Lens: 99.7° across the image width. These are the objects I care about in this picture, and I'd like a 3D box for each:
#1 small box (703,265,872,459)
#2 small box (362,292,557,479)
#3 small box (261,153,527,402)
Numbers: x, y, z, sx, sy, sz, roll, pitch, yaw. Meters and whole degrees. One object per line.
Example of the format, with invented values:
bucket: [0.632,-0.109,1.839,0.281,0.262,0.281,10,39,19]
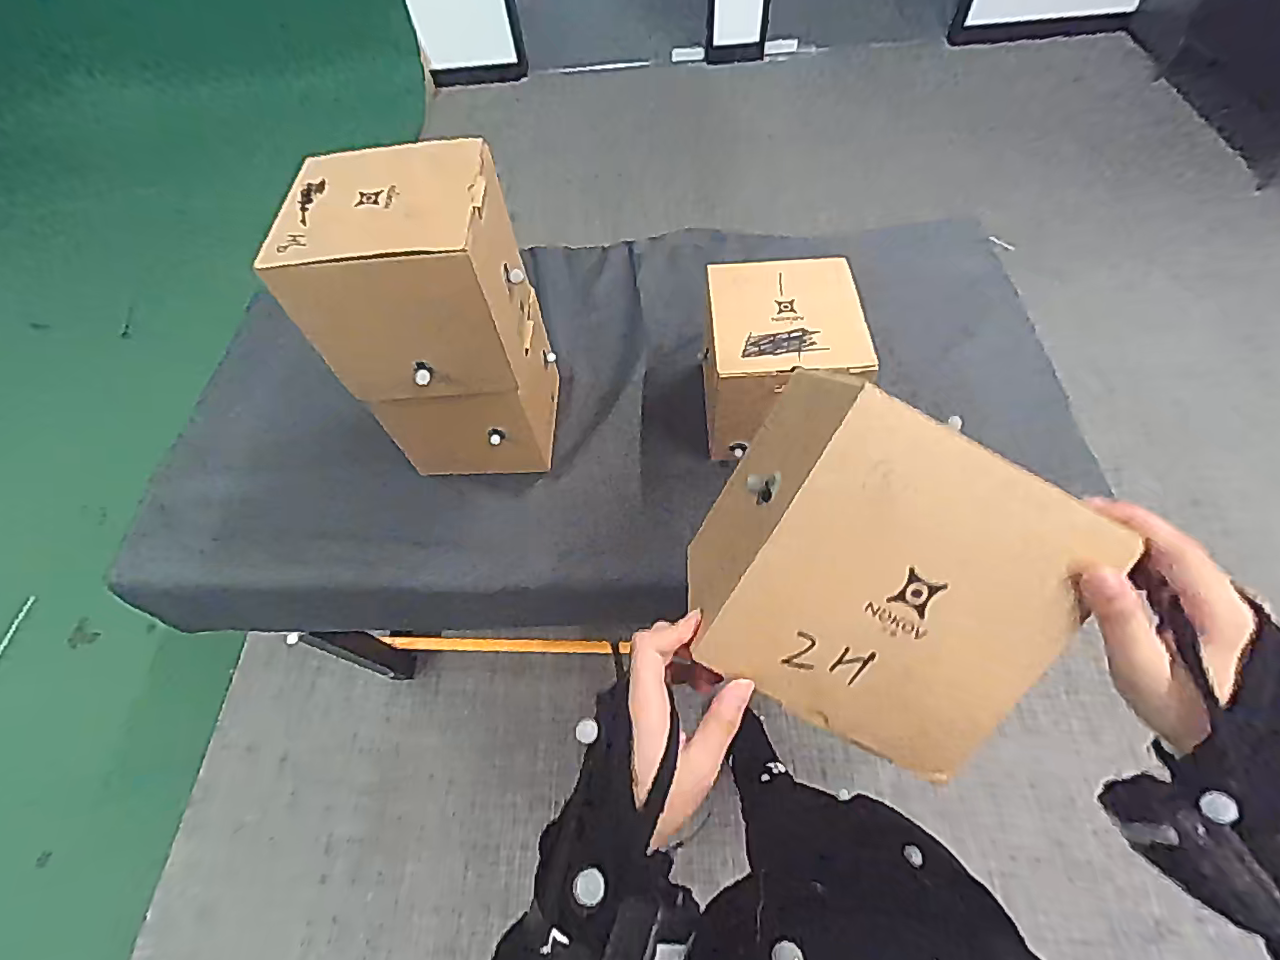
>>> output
small box: [0.166,-0.137,0.671,0.168,0.176,0.179,-2,58,3]
small box: [-0.208,-0.113,0.684,0.179,0.176,0.168,-2,57,4]
small box: [-0.218,-0.195,0.542,0.179,0.176,0.168,-4,57,1]
